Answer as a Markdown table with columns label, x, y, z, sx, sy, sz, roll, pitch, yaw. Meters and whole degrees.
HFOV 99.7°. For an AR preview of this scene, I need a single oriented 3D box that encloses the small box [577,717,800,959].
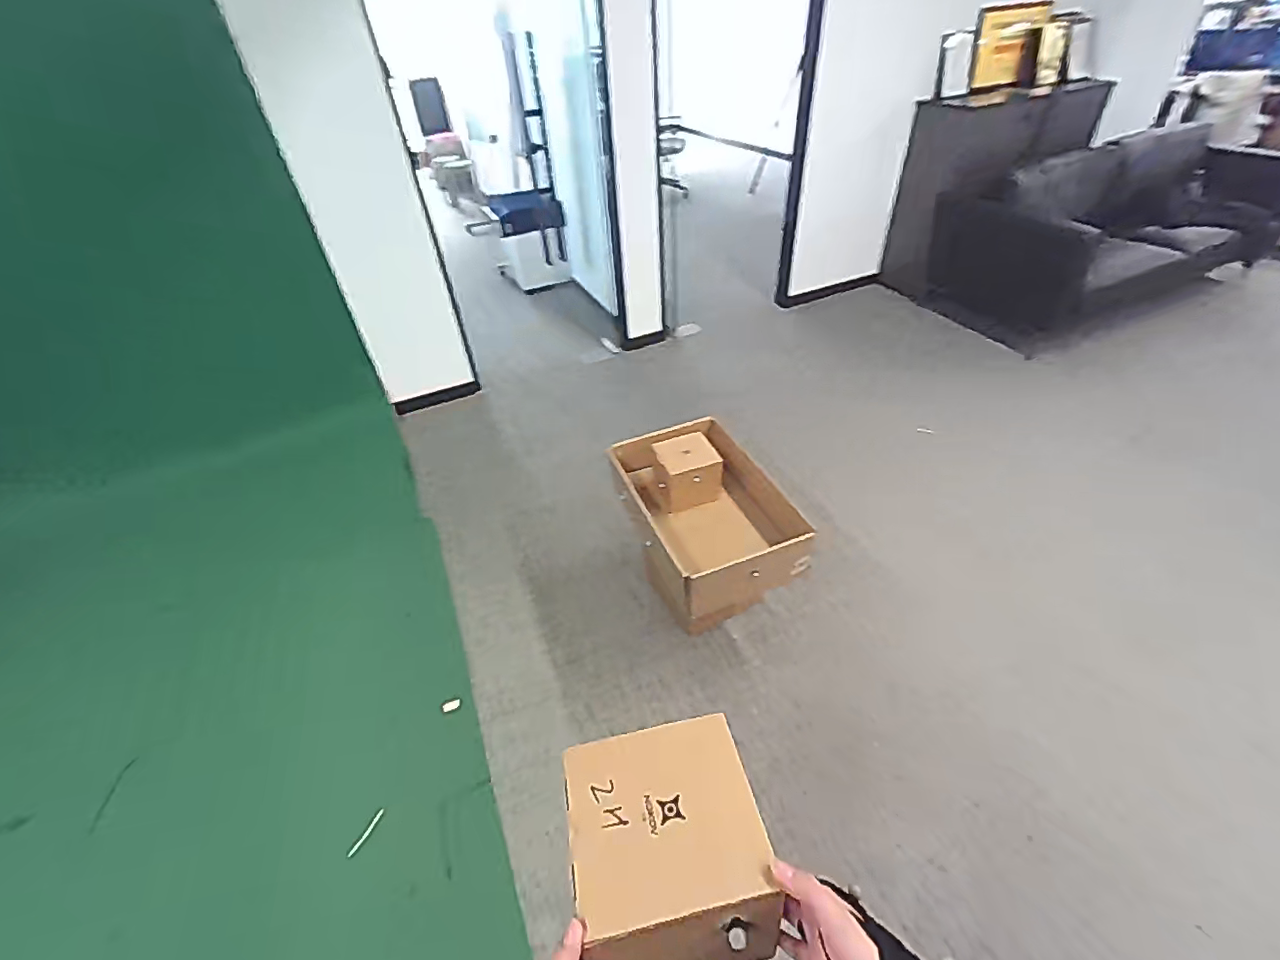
| label | x | y | z | sx | sy | sz | roll | pitch | yaw |
| --- | --- | --- | --- | --- | --- | --- | --- | --- | --- |
| small box | 0.038 | 0.373 | 0.541 | 0.179 | 0.176 | 0.168 | -9 | 33 | -6 |

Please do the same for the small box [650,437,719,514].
| label | x | y | z | sx | sy | sz | roll | pitch | yaw |
| --- | --- | --- | --- | --- | --- | --- | --- | --- | --- |
| small box | 0.141 | -0.012 | 1.744 | 0.179 | 0.176 | 0.168 | -14 | 43 | -14 |
